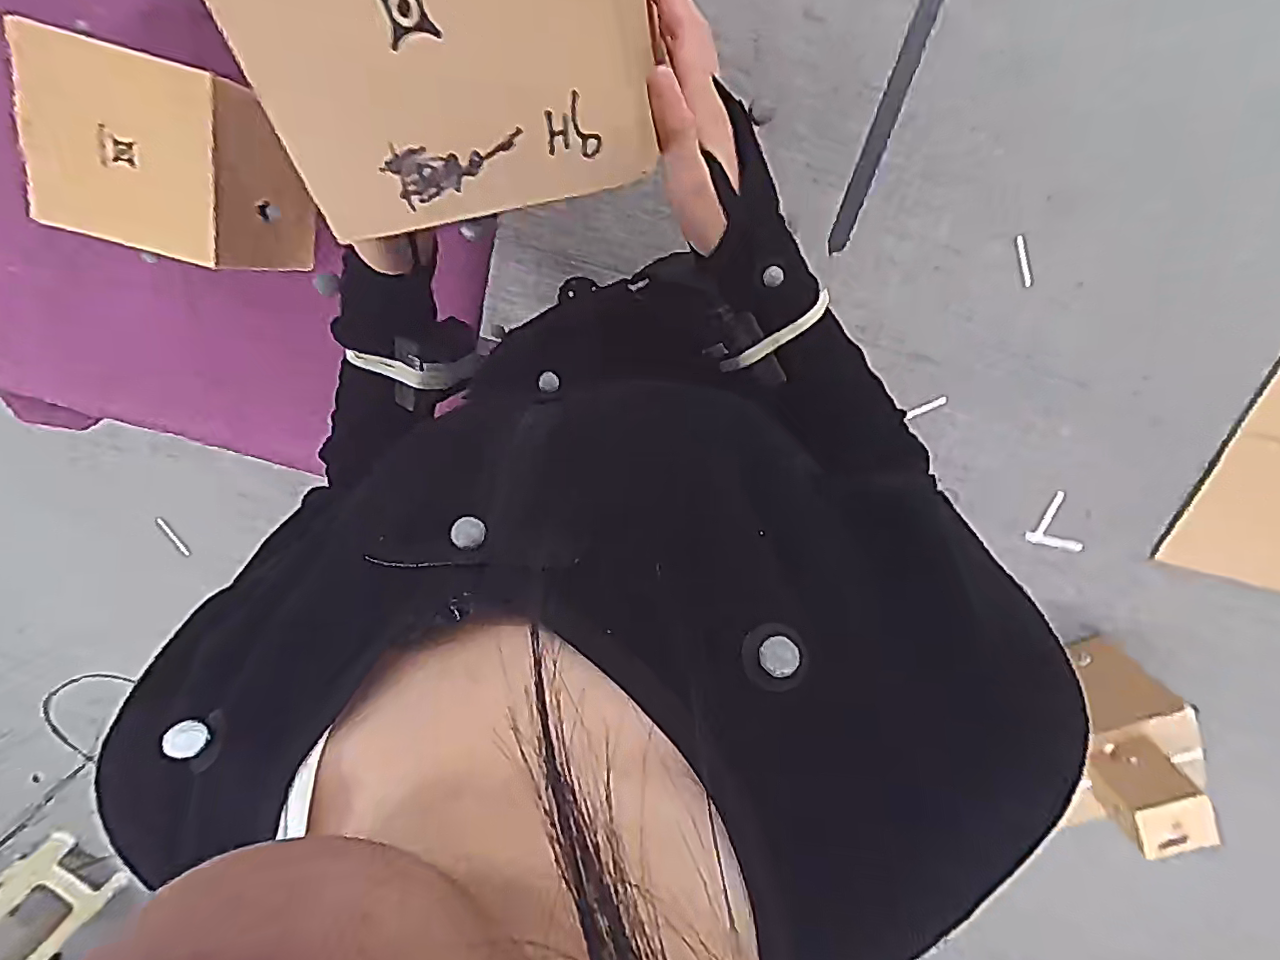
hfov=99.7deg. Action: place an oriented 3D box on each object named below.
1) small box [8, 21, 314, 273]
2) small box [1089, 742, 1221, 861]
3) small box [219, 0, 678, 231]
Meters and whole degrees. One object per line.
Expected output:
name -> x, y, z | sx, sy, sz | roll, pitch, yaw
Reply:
small box -> -0.469, -0.325, 0.566 | 0.179, 0.176, 0.168 | 14, 110, -2
small box -> 1.291, 0.806, 1.365 | 0.168, 0.176, 0.179 | -25, 107, 11
small box -> -0.079, -0.247, 0.267 | 0.168, 0.176, 0.179 | -4, 128, 14
